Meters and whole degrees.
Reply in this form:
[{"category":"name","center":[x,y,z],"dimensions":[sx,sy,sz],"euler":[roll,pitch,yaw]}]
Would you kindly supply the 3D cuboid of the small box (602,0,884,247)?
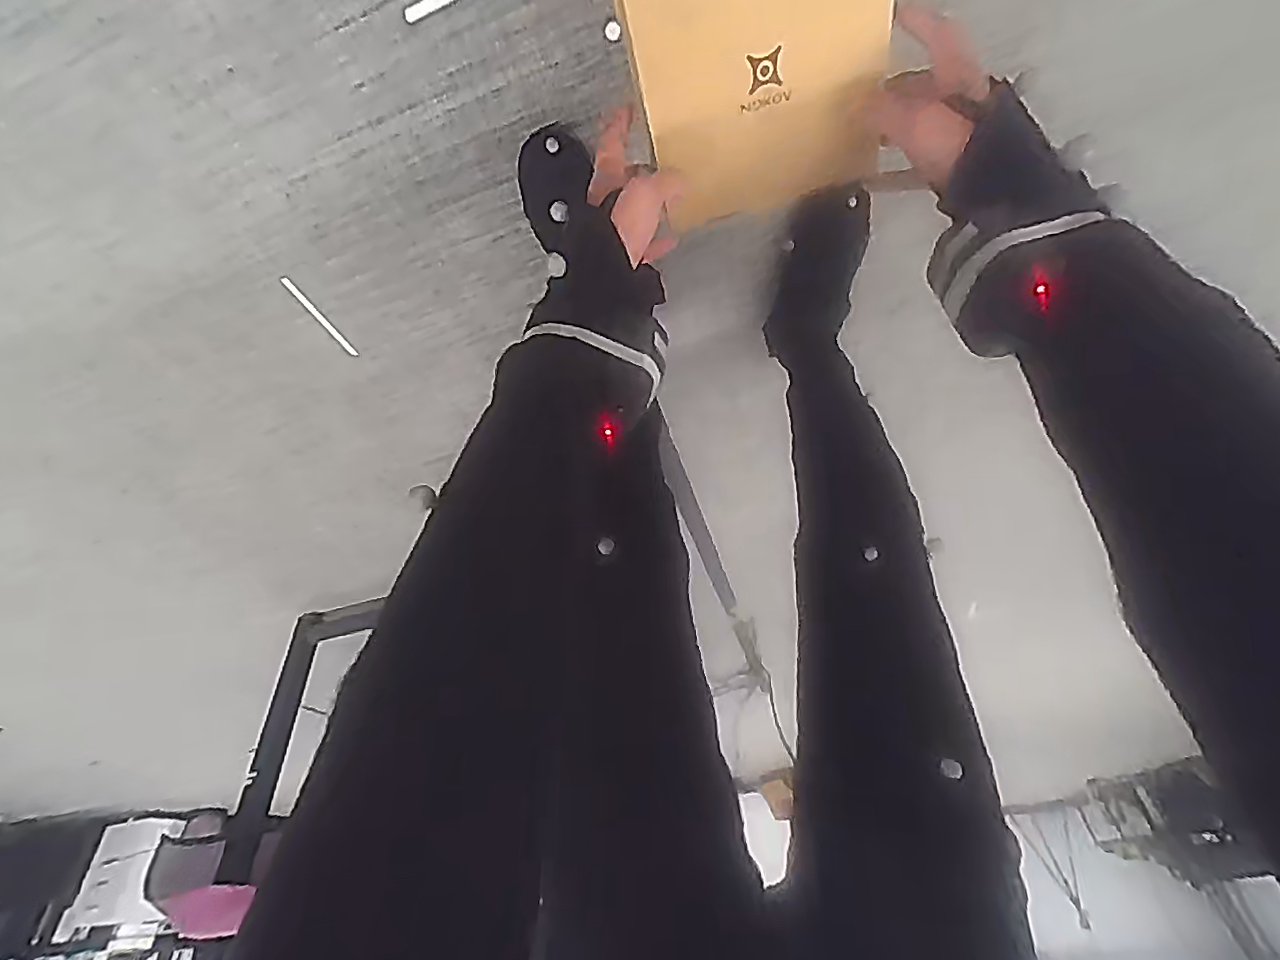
[{"category":"small box","center":[0.068,-0.320,0.414],"dimensions":[0.168,0.176,0.179],"euler":[-14,143,8]}]
